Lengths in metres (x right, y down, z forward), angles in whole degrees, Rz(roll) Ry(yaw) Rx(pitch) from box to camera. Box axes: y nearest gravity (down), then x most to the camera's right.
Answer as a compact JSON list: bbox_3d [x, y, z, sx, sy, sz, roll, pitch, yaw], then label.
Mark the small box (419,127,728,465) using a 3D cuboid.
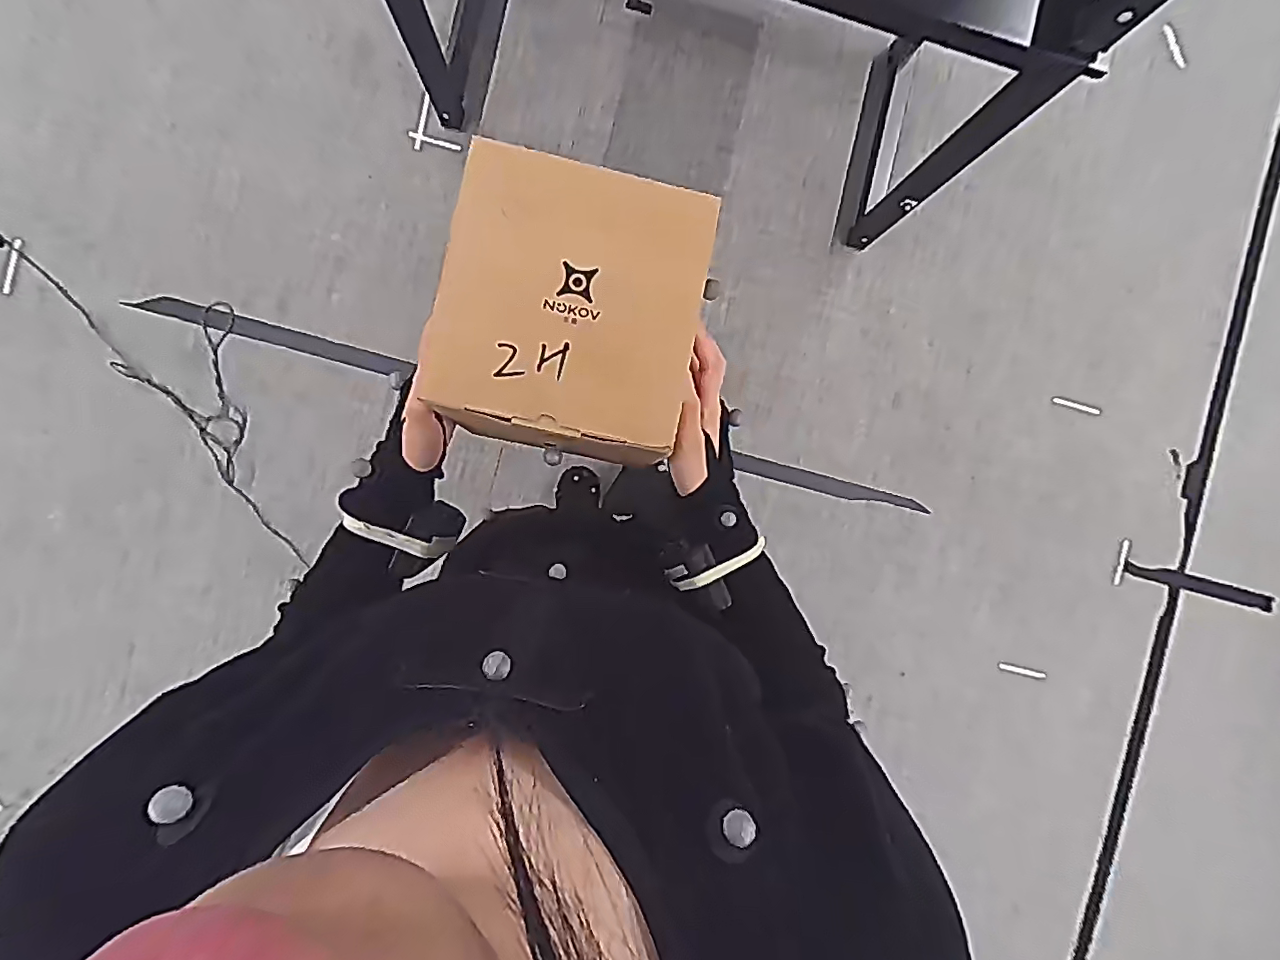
[{"bbox_3d":[-0.046,-0.115,0.417,0.168,0.176,0.179,12,87,-5],"label":"small box"}]
